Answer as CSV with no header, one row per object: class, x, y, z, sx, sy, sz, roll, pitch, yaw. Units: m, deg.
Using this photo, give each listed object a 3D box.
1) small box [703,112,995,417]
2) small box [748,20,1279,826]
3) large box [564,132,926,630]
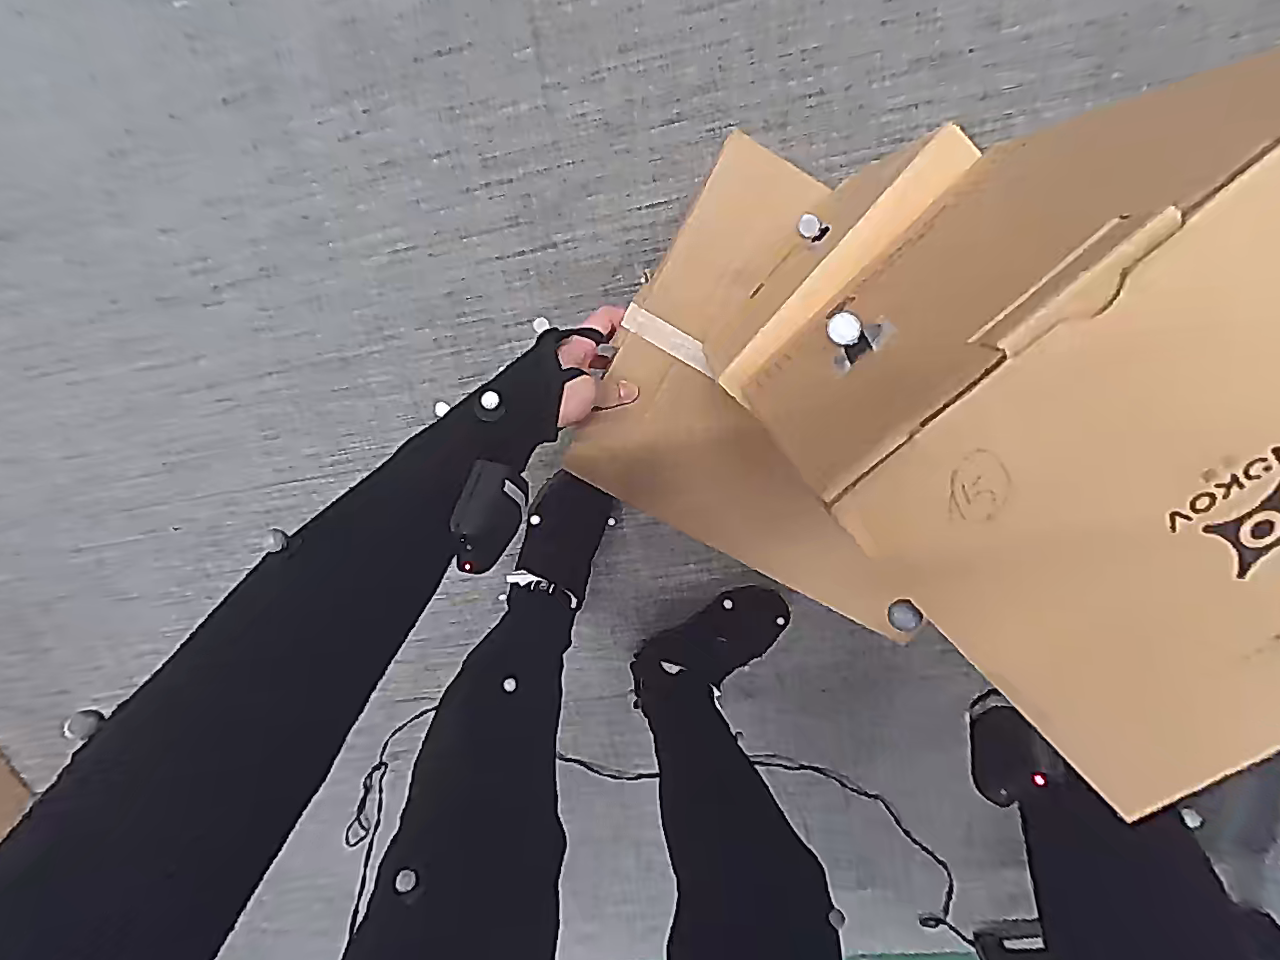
small box,0.159,-0.092,0.365,0.179,0.176,0.168,37,109,-13
small box,0.164,-0.022,0.214,0.179,0.176,0.168,43,108,-13
large box,0.174,-0.108,0.616,0.408,0.320,0.320,27,112,-8
